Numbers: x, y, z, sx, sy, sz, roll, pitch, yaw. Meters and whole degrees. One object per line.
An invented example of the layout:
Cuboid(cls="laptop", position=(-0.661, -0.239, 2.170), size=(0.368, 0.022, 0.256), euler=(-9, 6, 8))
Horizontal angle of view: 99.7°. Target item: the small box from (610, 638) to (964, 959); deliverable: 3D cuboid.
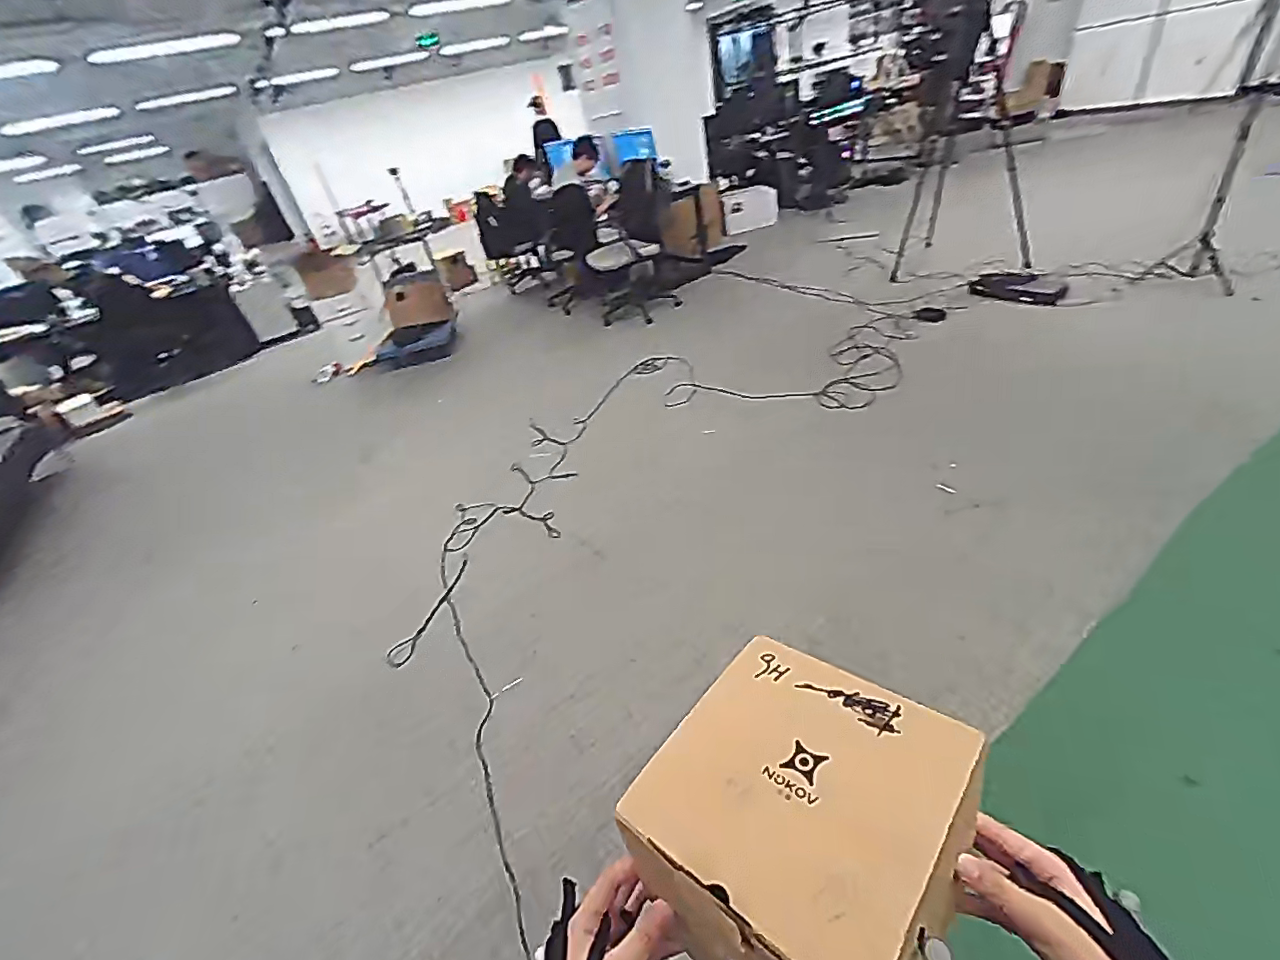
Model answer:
Cuboid(cls="small box", position=(0.111, 0.256, 0.383), size=(0.168, 0.176, 0.179), euler=(14, 40, 42))
